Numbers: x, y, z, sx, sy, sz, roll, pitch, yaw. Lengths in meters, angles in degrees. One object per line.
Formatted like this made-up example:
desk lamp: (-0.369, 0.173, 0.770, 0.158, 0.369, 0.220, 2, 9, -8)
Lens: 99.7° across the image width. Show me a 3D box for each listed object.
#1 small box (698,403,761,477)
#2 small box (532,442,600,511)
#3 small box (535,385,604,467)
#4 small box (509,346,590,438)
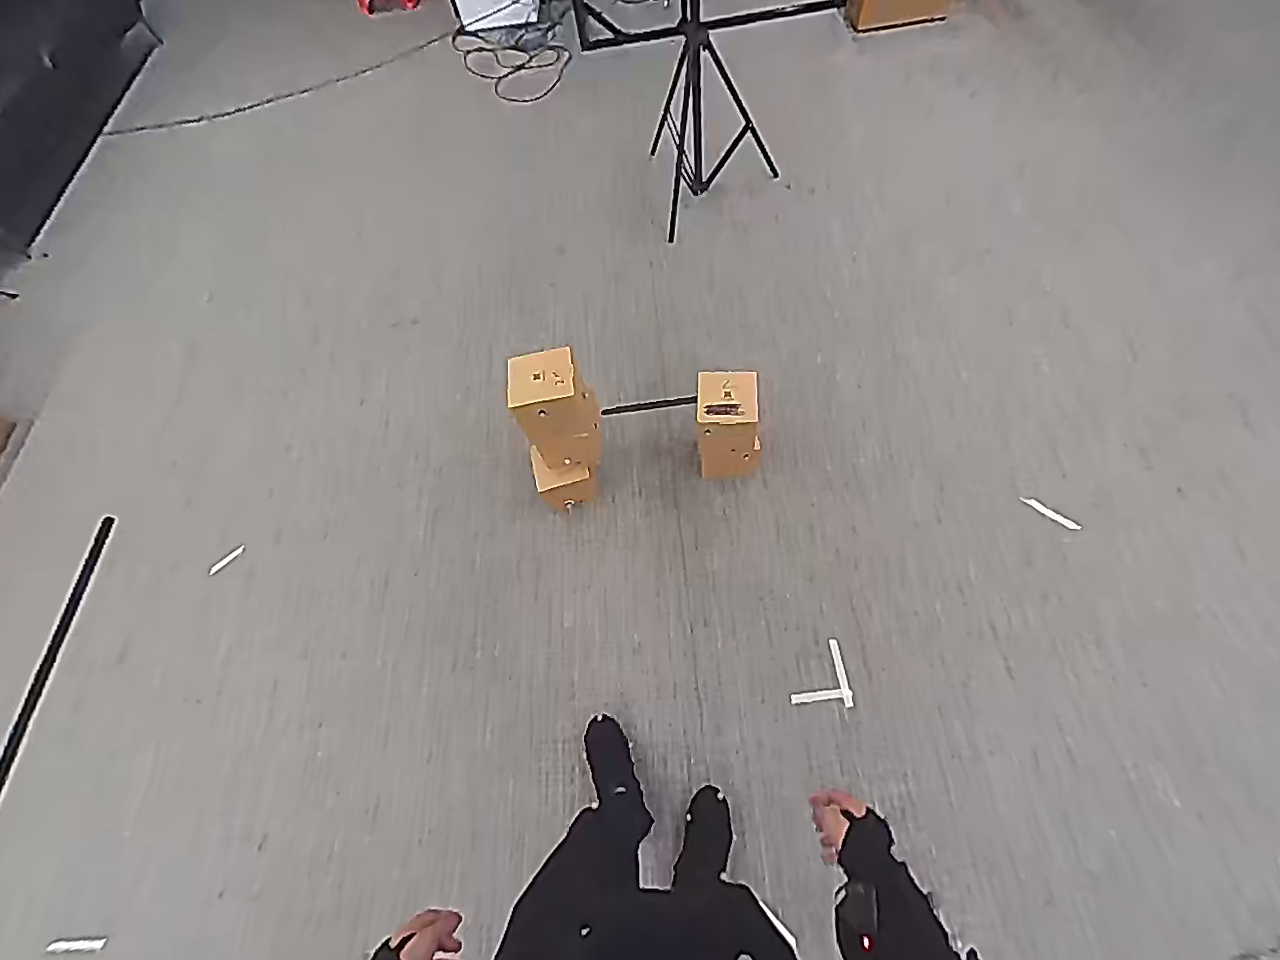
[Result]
small box: (0.278, -0.120, 1.701, 0.179, 0.176, 0.168, -5, 63, 4)
small box: (-0.234, -0.025, 1.721, 0.168, 0.176, 0.179, -16, 62, 0)
small box: (-0.205, -0.157, 1.600, 0.168, 0.176, 0.179, -3, 63, 7)
small box: (-0.241, -0.230, 1.457, 0.179, 0.176, 0.168, -10, 62, 4)
